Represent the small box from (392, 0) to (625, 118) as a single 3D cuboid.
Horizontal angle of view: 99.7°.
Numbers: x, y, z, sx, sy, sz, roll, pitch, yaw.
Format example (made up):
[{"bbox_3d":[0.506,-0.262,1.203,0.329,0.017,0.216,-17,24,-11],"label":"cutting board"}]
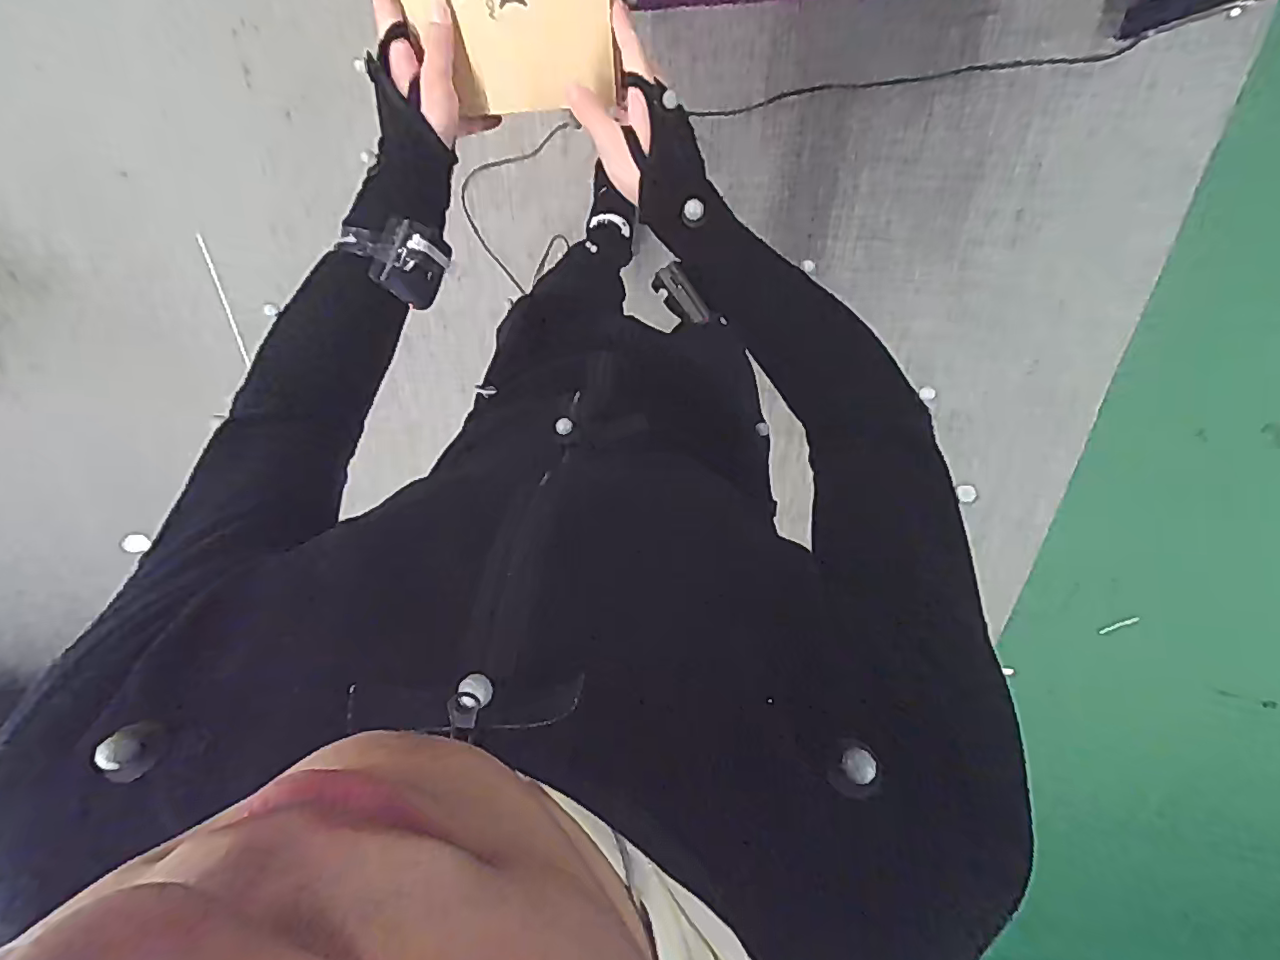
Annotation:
[{"bbox_3d":[-0.107,-0.436,0.486,0.179,0.176,0.168,0,128,6],"label":"small box"}]
